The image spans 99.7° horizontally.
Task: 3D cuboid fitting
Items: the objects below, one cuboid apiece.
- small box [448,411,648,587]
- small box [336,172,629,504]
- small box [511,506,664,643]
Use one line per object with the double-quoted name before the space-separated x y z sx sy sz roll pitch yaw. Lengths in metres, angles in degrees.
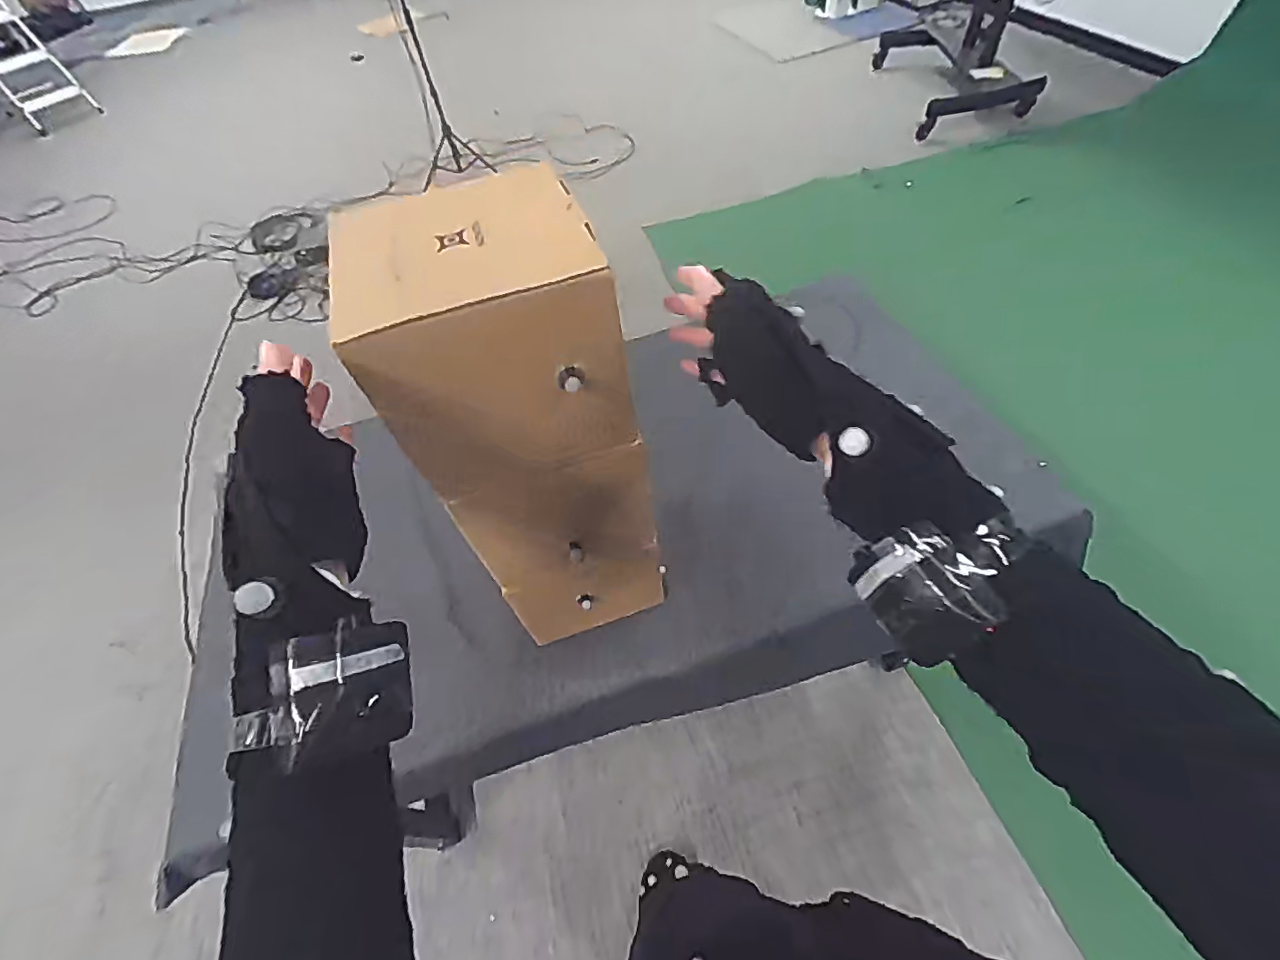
"small box" -0.095 -0.013 0.568 0.179 0.176 0.168 -18 54 -7
"small box" -0.115 -0.109 0.438 0.179 0.176 0.168 -20 54 -6
"small box" -0.078 0.084 0.698 0.179 0.176 0.168 -20 55 -9
